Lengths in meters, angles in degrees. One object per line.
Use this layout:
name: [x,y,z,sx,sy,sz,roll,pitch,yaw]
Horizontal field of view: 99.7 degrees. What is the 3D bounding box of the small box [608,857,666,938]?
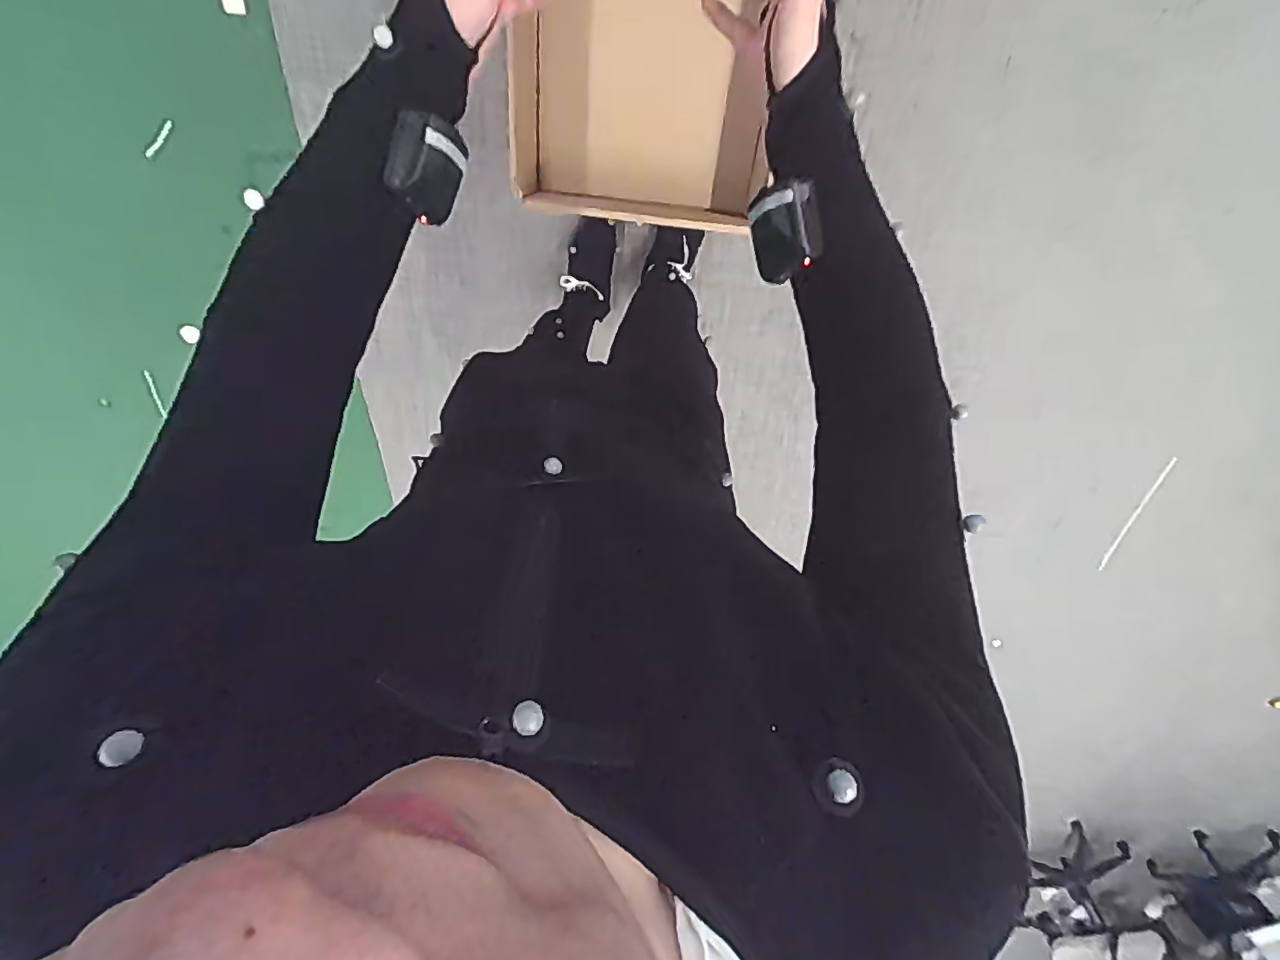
small box: [-0.005,1.328,1.726,0.179,0.176,0.168,-2,125,2]
